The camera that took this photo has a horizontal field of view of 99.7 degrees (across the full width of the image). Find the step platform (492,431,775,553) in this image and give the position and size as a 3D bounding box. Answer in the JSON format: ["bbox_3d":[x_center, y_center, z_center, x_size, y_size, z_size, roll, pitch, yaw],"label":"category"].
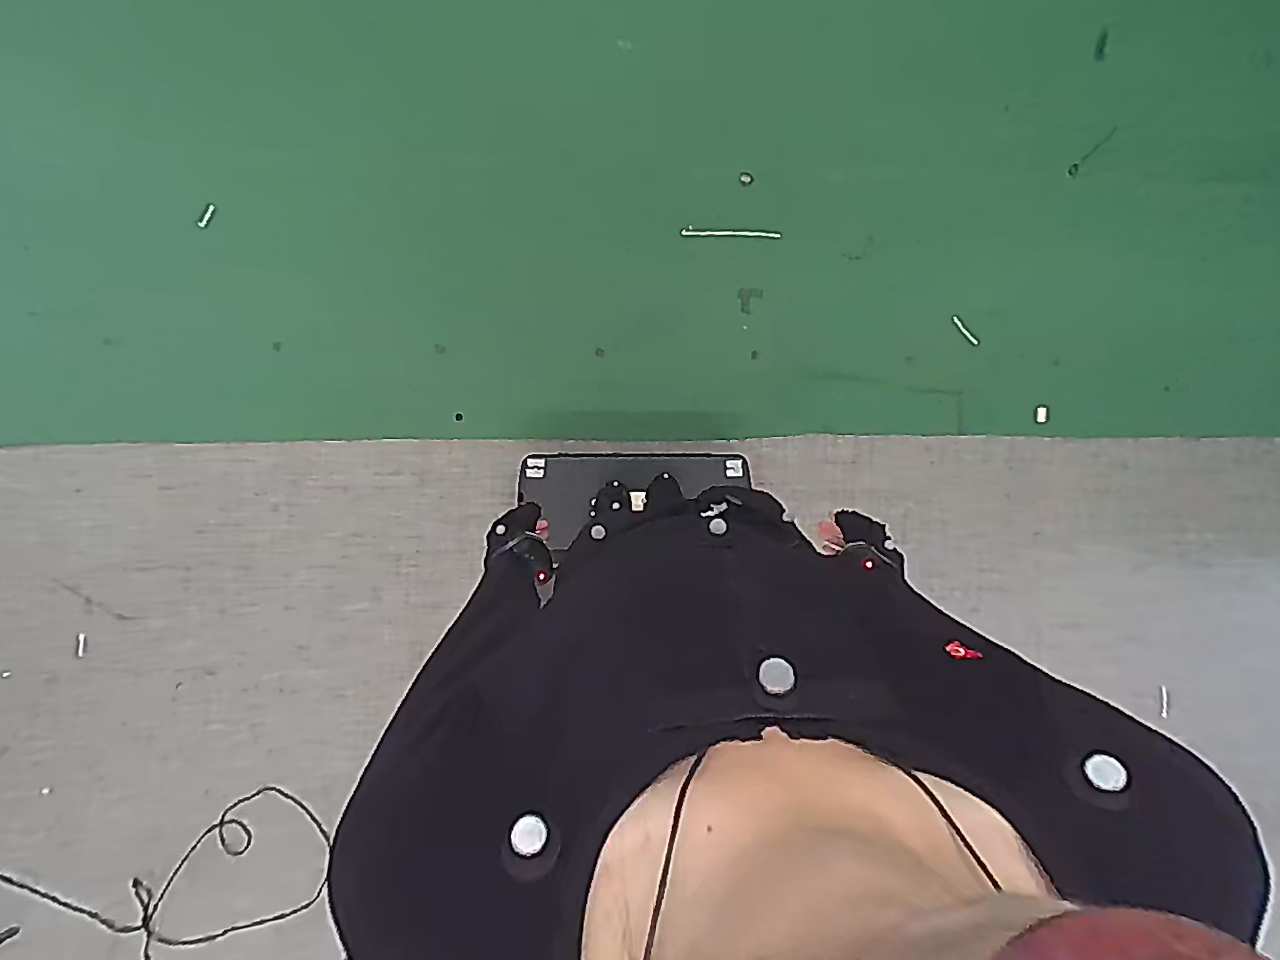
[{"bbox_3d":[-0.014,0.026,1.391,0.684,0.204,0.286,-1,91,-2],"label":"step platform"}]
